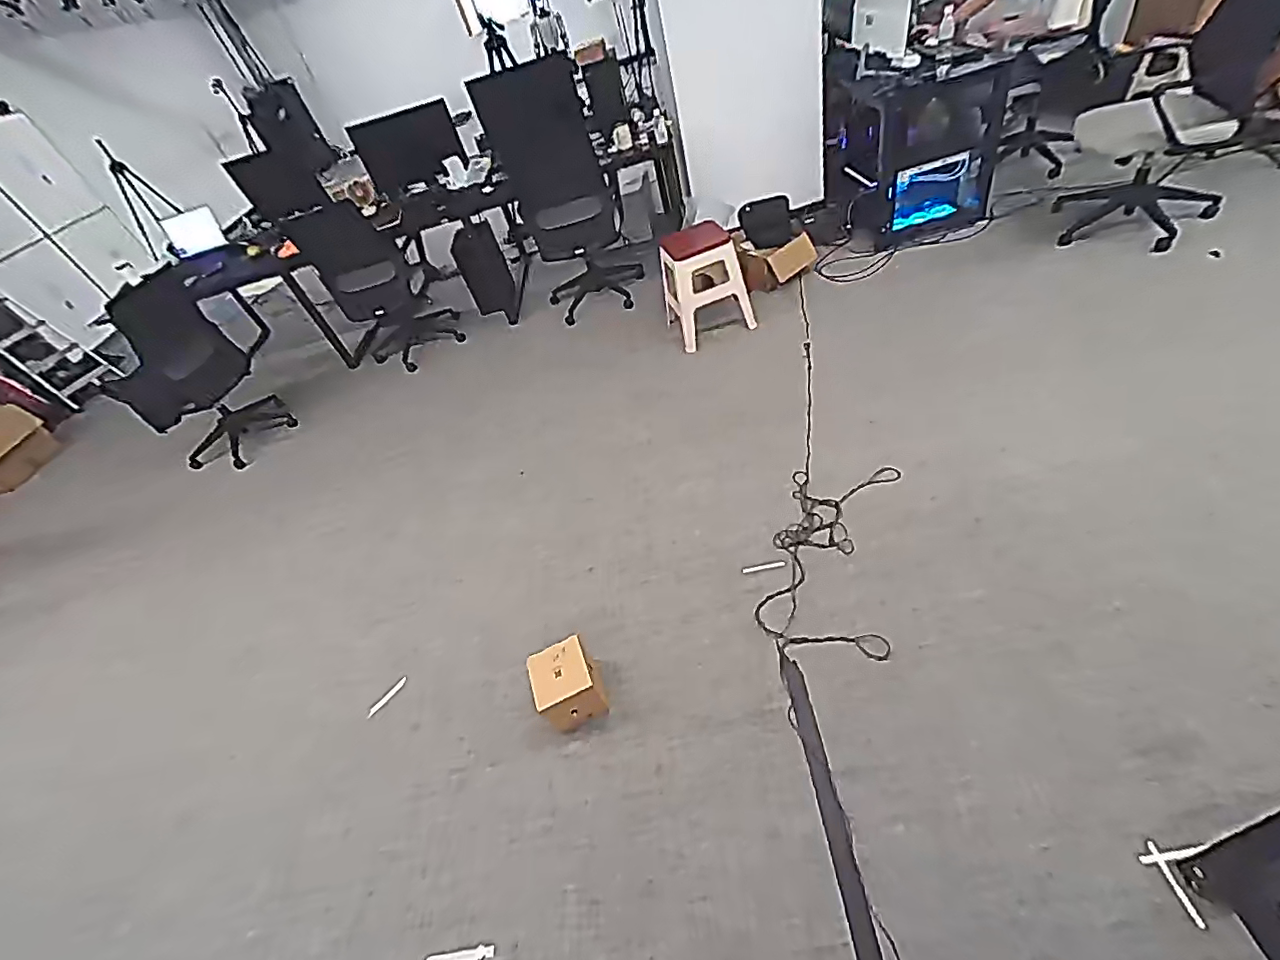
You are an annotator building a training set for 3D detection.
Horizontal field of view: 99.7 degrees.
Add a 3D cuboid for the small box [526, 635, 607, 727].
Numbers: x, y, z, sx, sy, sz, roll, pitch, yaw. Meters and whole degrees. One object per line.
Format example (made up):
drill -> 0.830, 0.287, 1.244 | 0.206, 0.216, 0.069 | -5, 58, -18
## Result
small box -> -0.212, 0.594, 1.578 | 0.168, 0.176, 0.179 | -24, 43, -4
